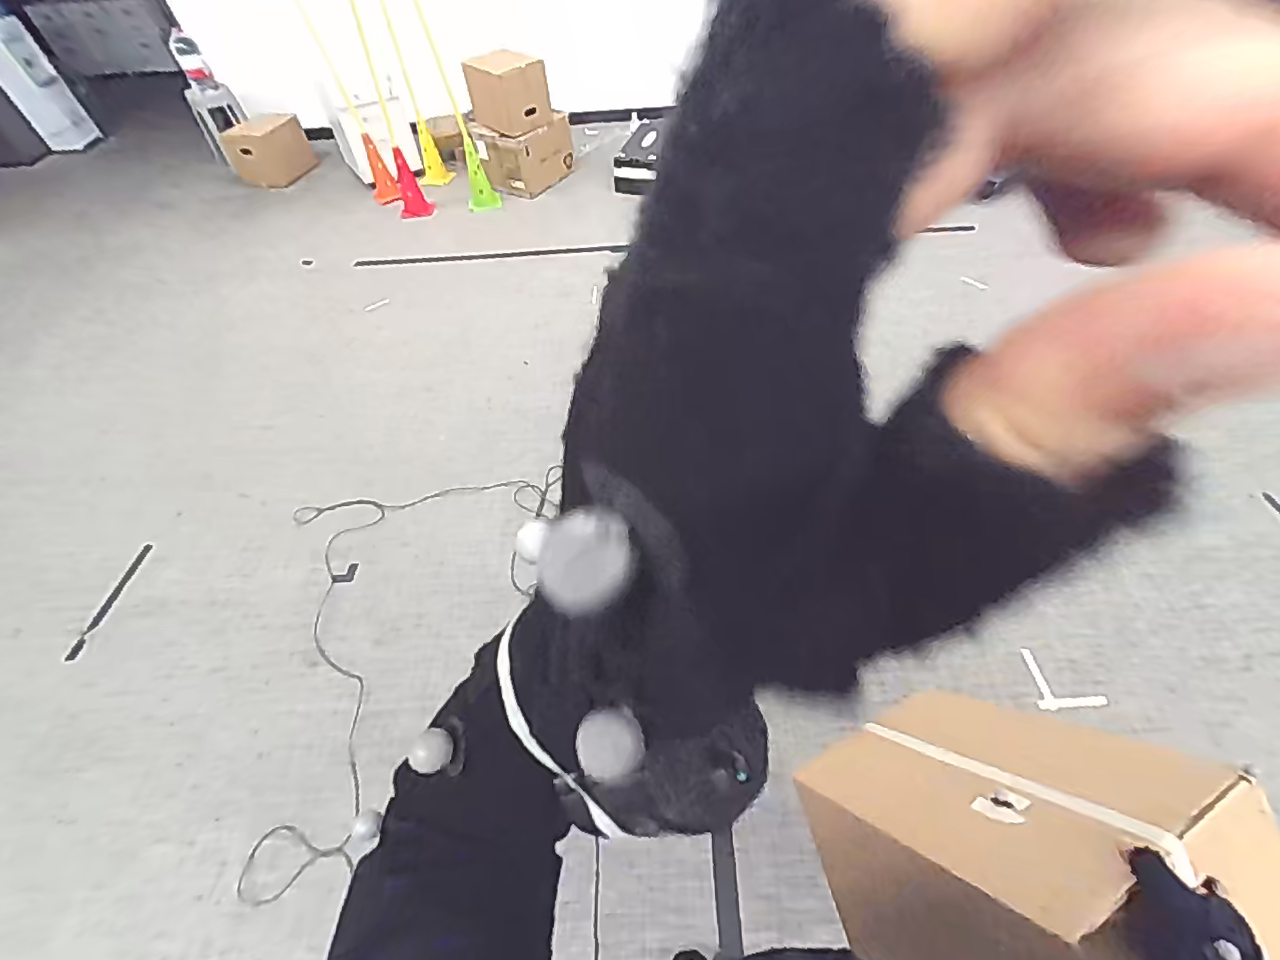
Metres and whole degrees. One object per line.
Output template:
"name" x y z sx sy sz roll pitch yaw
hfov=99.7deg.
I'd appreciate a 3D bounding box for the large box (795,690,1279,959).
"large box" 0.476 0.515 0.685 0.320 0.408 0.320 -18 88 -21
